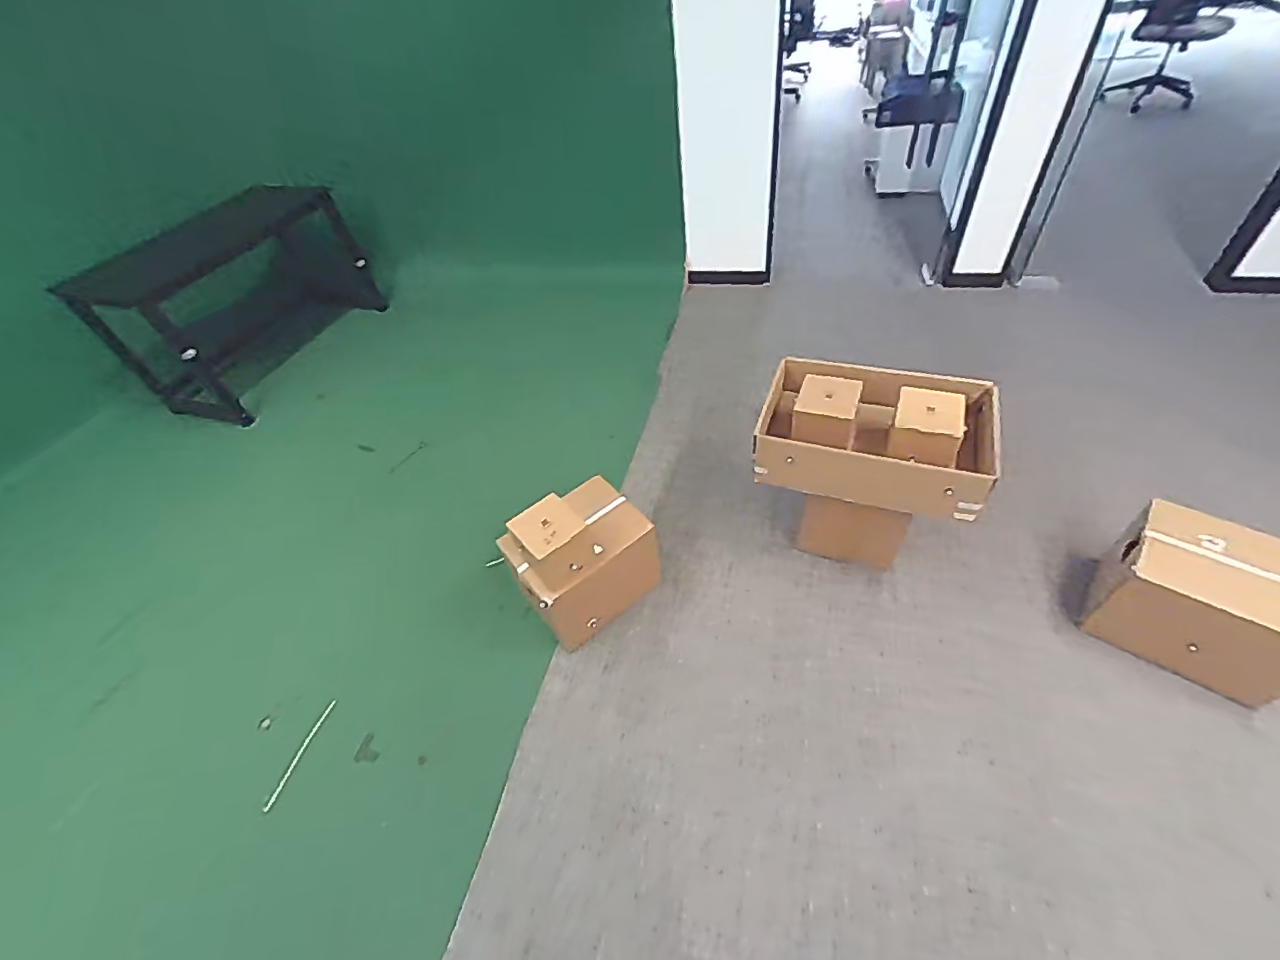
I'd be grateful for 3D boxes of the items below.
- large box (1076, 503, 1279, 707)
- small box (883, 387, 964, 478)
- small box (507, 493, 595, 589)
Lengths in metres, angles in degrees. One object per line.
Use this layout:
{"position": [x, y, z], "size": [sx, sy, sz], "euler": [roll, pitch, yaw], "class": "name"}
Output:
{"position": [1.520, 0.333, 1.471], "size": [0.408, 0.320, 0.320], "euler": [26, 56, 30], "class": "large box"}
{"position": [0.799, -0.134, 1.532], "size": [0.168, 0.176, 0.179], "euler": [13, 52, 20], "class": "small box"}
{"position": [-0.251, 0.176, 1.542], "size": [0.168, 0.176, 0.179], "euler": [-35, 53, -22], "class": "small box"}
